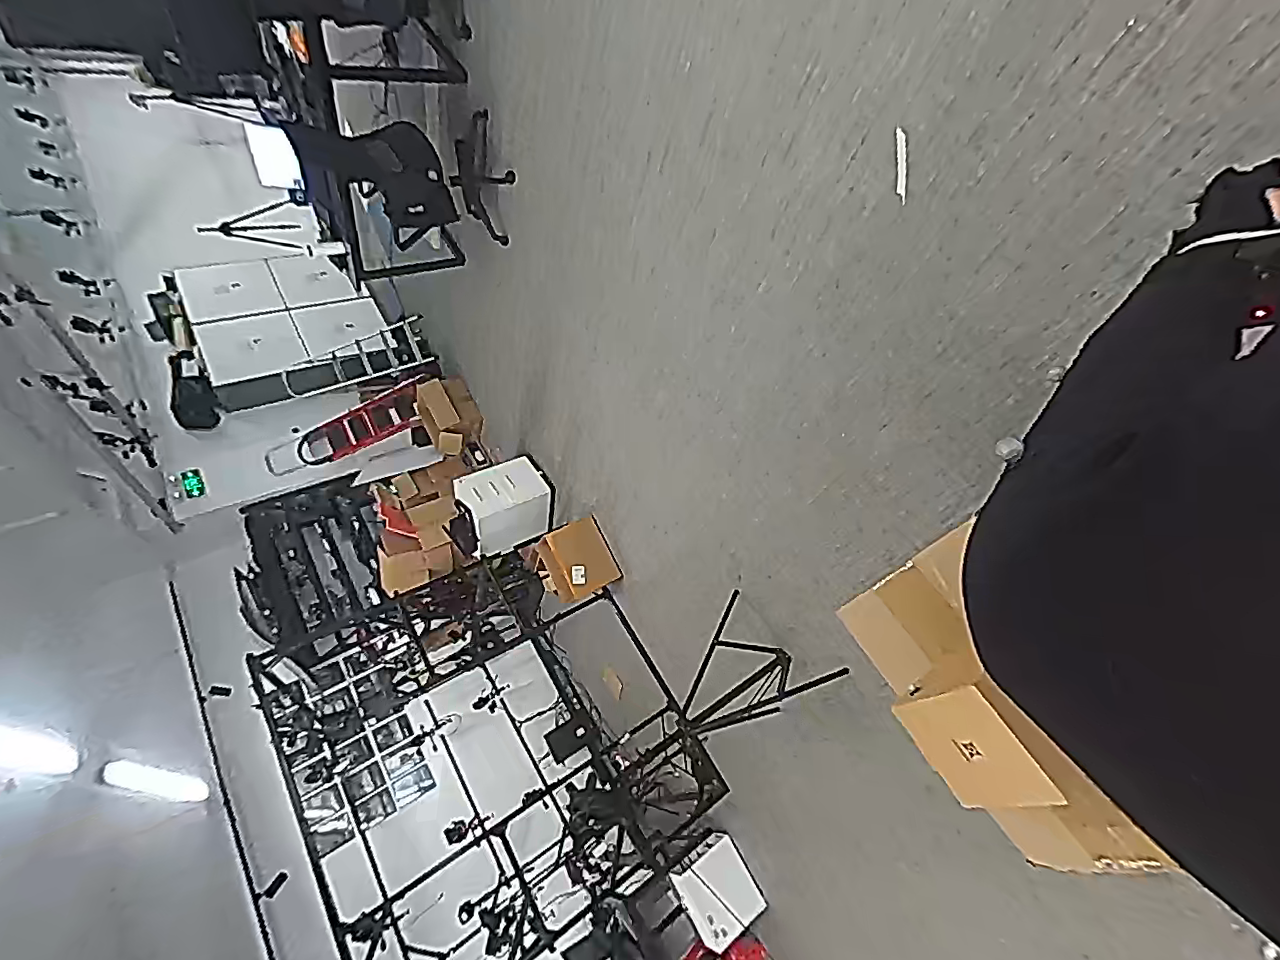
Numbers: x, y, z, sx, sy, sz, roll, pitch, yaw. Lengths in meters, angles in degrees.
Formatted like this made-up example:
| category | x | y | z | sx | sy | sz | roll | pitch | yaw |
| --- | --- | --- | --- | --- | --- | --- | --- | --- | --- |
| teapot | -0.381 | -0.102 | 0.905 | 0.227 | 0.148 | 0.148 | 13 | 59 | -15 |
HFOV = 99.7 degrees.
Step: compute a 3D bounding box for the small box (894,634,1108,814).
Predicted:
| category | x | y | z | sx | sy | sz | roll | pitch | yaw |
| --- | --- | --- | --- | --- | --- | --- | --- | --- | --- |
| small box | 0.521 | 0.348 | 0.781 | 0.168 | 0.176 | 0.179 | 55 | 149 | 19 |
